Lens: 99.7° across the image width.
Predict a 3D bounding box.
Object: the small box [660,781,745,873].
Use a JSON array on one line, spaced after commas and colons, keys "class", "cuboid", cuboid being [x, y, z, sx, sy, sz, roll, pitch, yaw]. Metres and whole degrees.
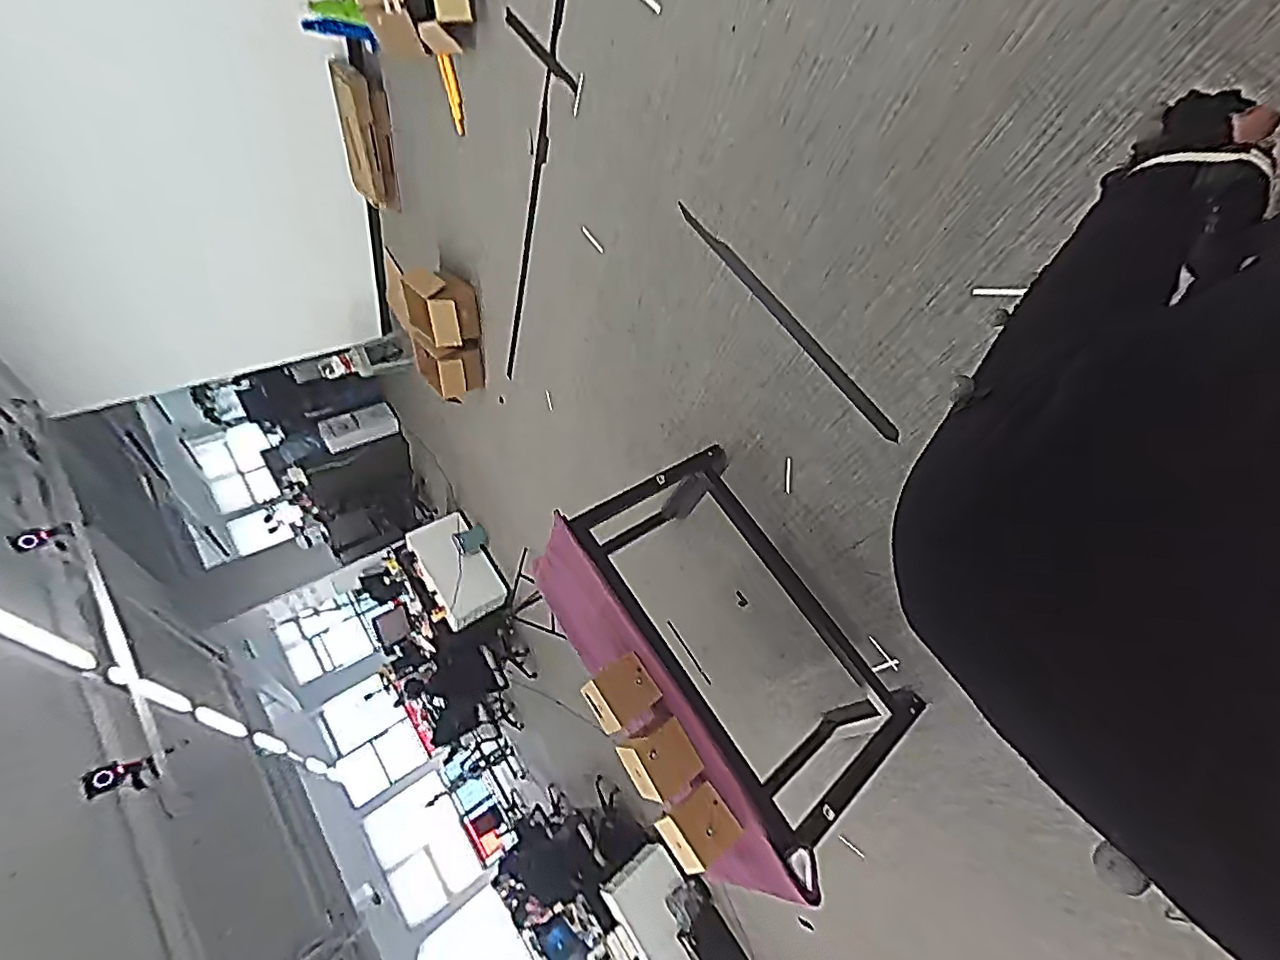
[{"class": "small box", "cuboid": [0.190, 1.046, 1.635, 0.168, 0.176, 0.179, 49, 146, 23]}]
